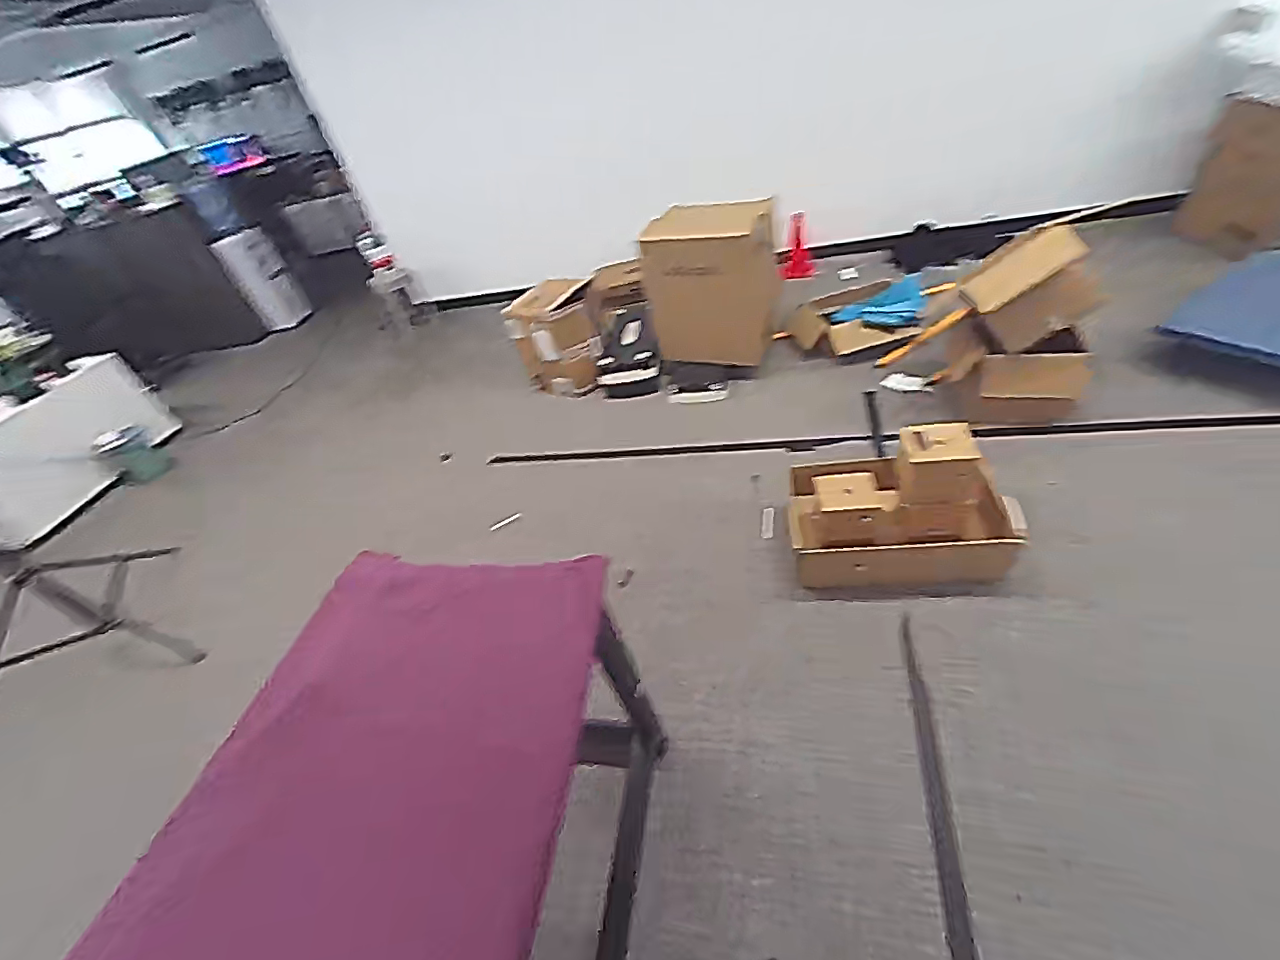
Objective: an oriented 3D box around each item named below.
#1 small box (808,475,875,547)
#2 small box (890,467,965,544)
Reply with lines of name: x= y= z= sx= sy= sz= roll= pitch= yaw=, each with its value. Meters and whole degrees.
small box: x=0.659 y=0.105 z=1.785 sx=0.179 sy=0.176 sz=0.168 roll=-6 pitch=40 yaw=10
small box: x=0.912 y=0.083 z=1.732 sx=0.168 sy=0.176 sz=0.179 roll=-6 pitch=41 yaw=13
